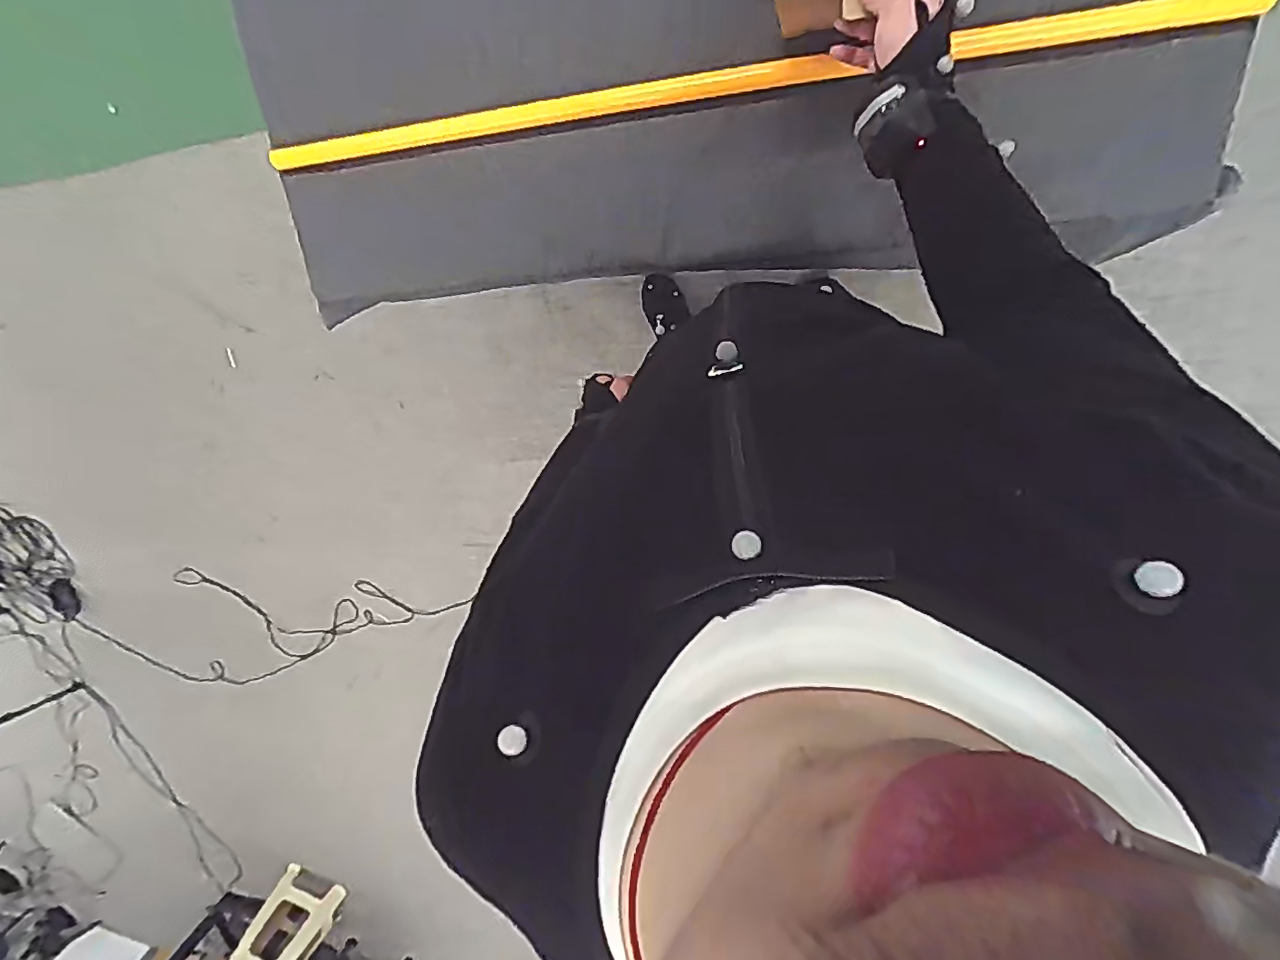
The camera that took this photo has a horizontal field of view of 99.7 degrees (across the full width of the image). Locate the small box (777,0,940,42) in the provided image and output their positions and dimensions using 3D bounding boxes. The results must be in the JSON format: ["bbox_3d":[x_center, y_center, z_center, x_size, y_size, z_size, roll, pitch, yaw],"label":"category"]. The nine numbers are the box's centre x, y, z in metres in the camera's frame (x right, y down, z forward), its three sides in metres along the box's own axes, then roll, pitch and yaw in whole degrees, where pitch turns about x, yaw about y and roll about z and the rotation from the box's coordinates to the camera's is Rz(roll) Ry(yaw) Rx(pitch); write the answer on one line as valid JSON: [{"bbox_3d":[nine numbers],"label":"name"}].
[{"bbox_3d":[0.219,-0.562,0.522,0.168,0.176,0.179,-2,113,21],"label":"small box"}]
